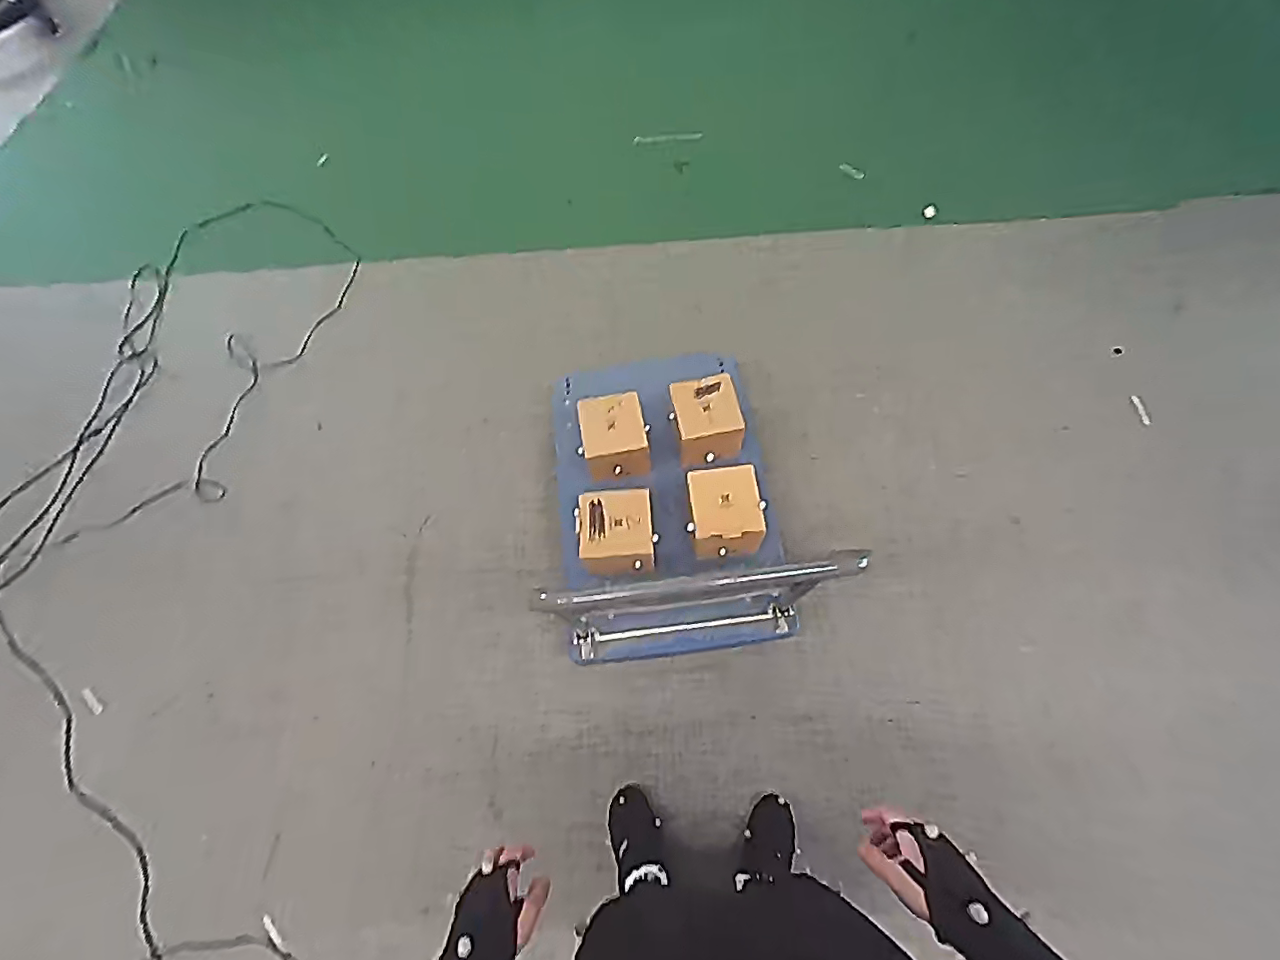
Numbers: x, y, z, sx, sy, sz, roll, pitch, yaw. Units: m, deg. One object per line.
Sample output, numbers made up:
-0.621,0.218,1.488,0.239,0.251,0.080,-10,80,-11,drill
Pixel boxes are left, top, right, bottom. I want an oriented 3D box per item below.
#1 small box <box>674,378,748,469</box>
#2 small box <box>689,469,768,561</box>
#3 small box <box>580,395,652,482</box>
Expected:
0.187,-0.152,1.486,0.168,0.176,0.179,-11,66,0,small box
0.217,0.092,1.372,0.168,0.176,0.179,-6,65,1,small box
-0.062,-0.105,1.481,0.168,0.176,0.179,-10,65,-1,small box
